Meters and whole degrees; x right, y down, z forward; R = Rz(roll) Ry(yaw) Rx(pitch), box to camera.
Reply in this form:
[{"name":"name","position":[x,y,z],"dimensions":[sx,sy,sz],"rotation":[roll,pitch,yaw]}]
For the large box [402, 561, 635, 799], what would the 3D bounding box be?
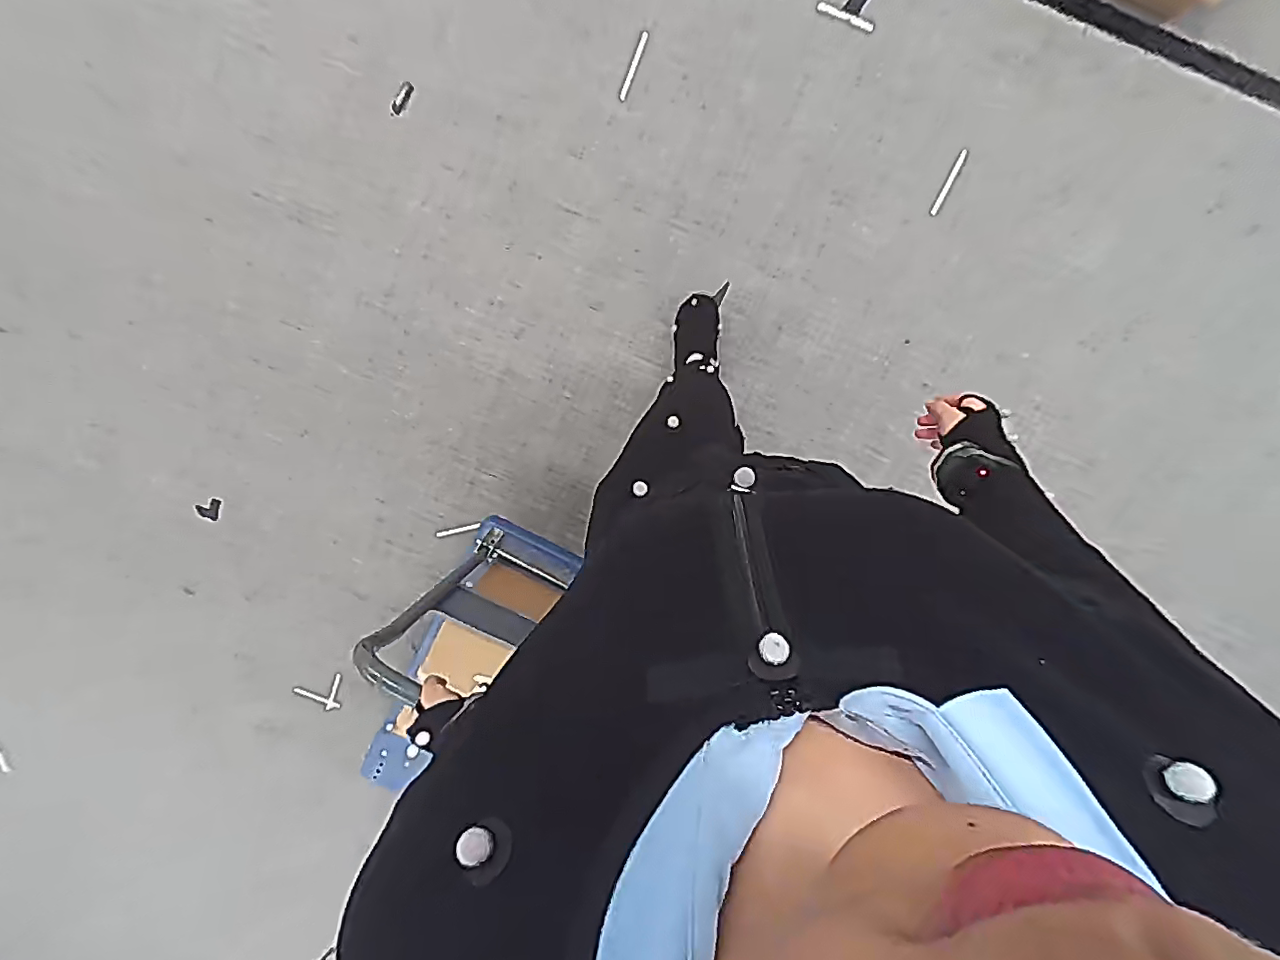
[{"name":"large box","position":[-0.263,0.453,1.291],"dimensions":[0.408,0.320,0.320],"rotation":[28,100,-2]}]
